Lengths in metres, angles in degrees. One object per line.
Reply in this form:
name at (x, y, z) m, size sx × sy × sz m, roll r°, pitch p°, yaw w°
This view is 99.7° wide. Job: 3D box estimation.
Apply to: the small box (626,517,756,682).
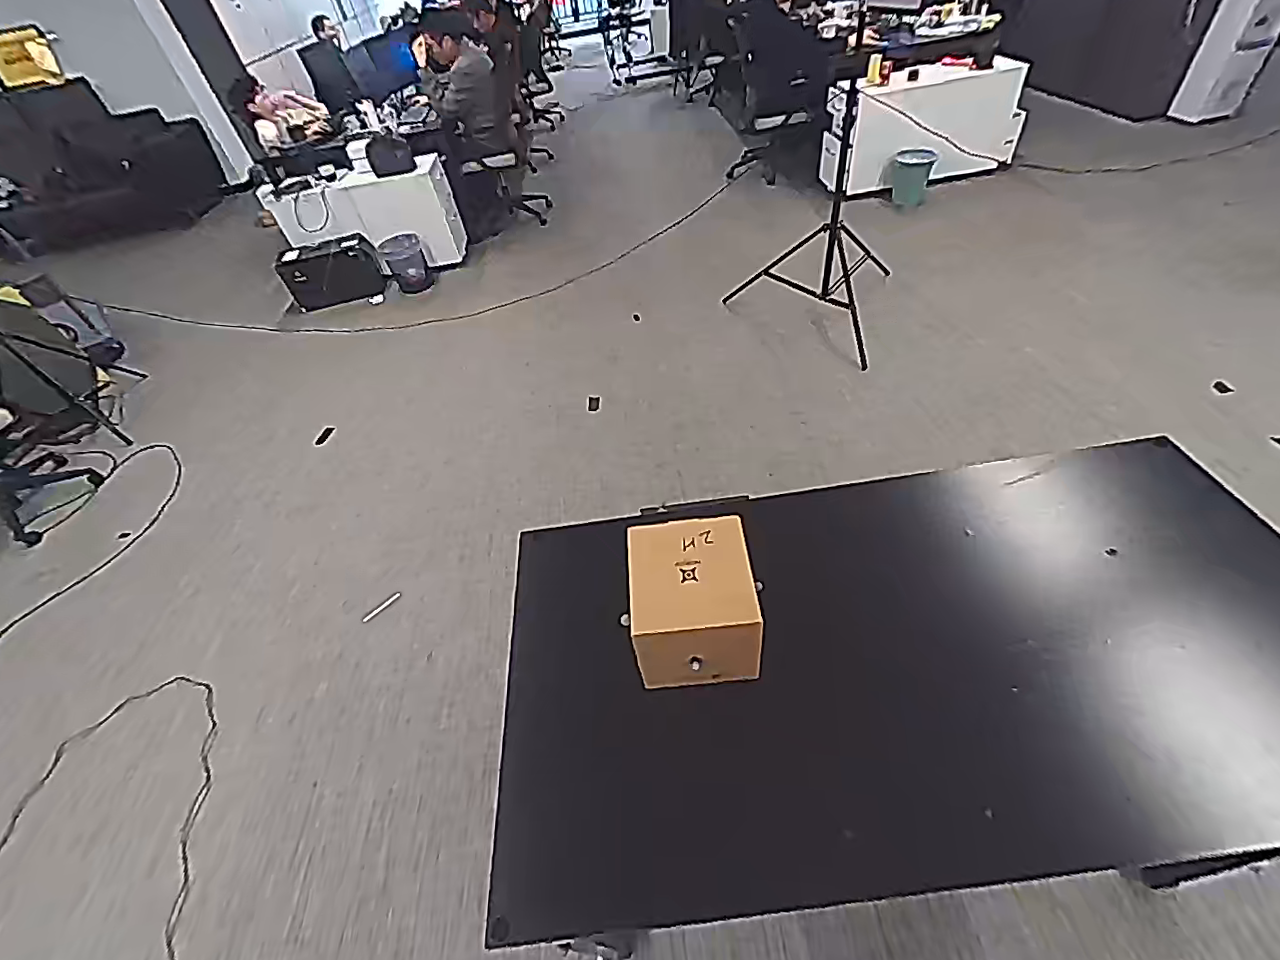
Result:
small box at (0.073, 0.180, 0.789) m, size 0.168 × 0.176 × 0.179 m, roll -7°, pitch 45°, yaw 3°
